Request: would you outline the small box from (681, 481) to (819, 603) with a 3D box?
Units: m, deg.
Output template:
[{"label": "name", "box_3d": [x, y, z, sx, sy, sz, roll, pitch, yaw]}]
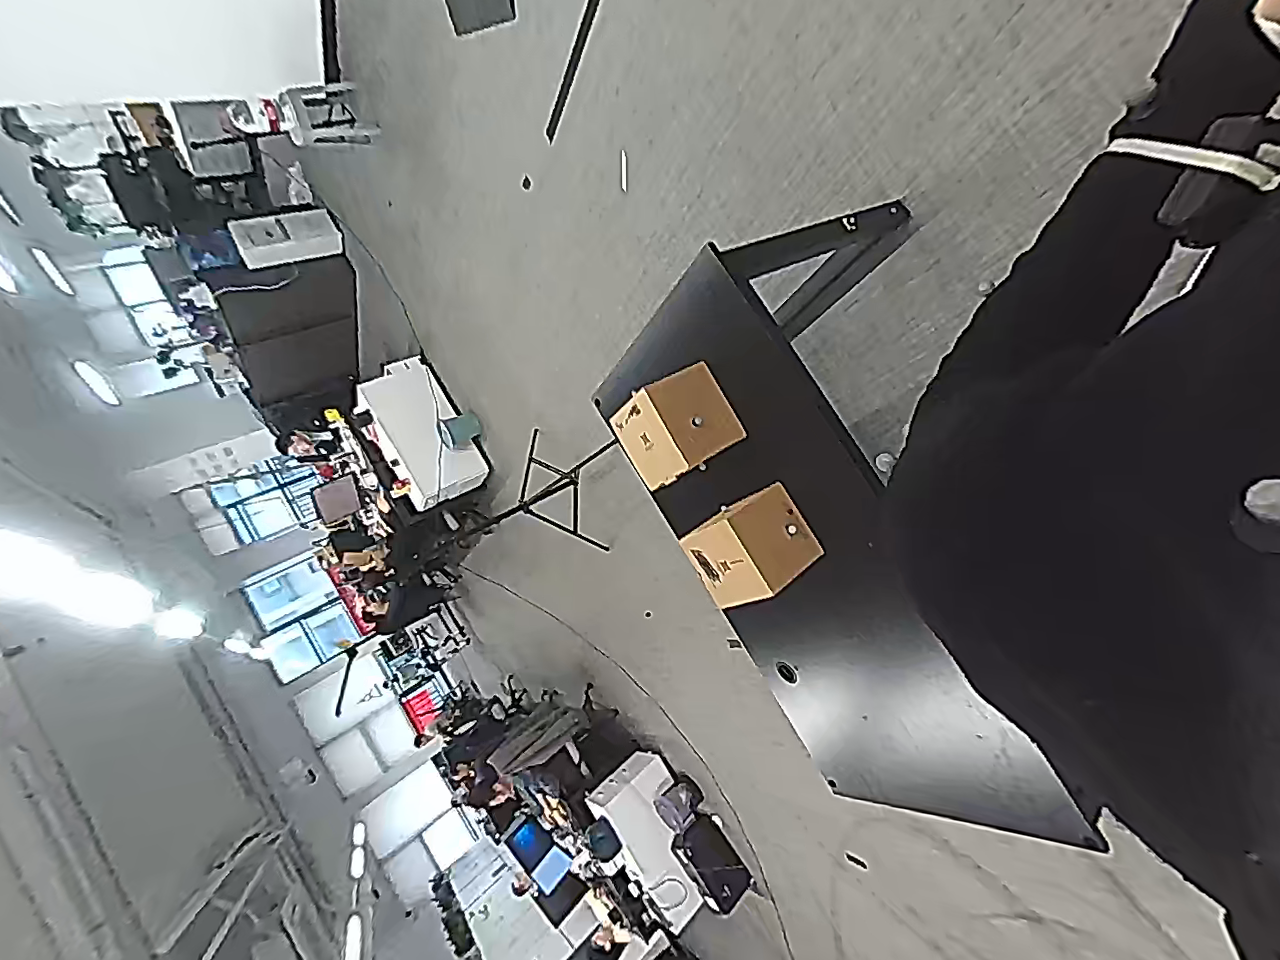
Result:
[{"label": "small box", "box_3d": [0.222, 0.126, 1.092, 0.168, 0.176, 0.179, 58, 148, 3]}]

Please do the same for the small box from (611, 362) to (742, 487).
[{"label": "small box", "box_3d": [0.076, -0.114, 1.107, 0.179, 0.176, 0.168, 59, 148, 1]}]
